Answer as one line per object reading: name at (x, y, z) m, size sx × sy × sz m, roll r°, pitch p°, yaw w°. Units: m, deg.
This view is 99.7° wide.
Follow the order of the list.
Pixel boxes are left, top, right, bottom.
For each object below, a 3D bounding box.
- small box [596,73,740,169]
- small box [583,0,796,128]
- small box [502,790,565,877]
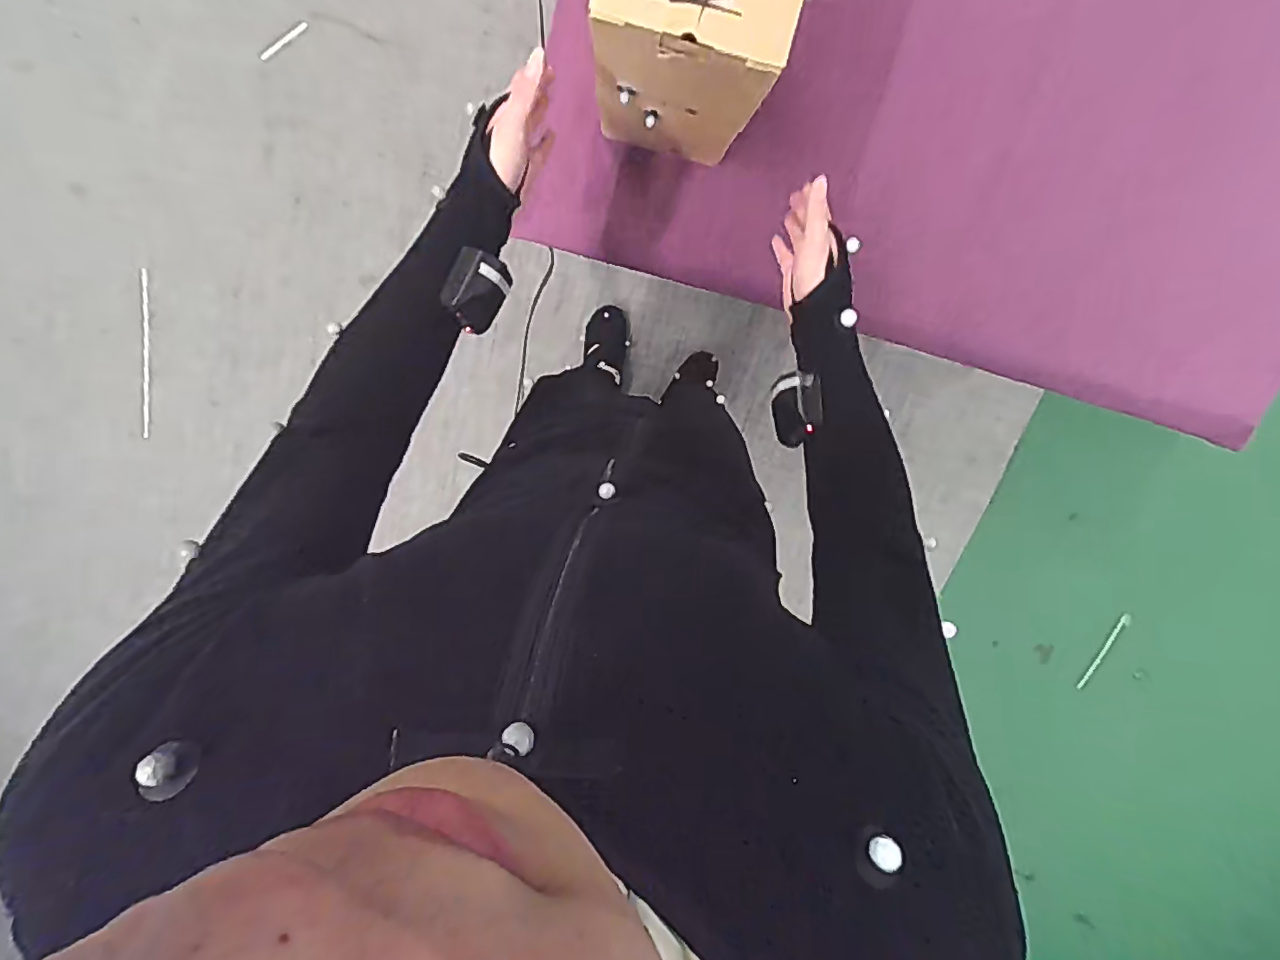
small box at (0.047, -0.504, 0.644) m, size 0.168 × 0.176 × 0.179 m, roll 13°, pitch 107°, yaw -5°
small box at (0.052, -0.452, 0.487) m, size 0.168 × 0.176 × 0.179 m, roll 12°, pitch 107°, yaw -5°
small box at (-0.368, 1.239, 1.902) m, size 0.168 × 0.176 × 0.179 m, roll 18°, pitch 106°, yaw -8°
